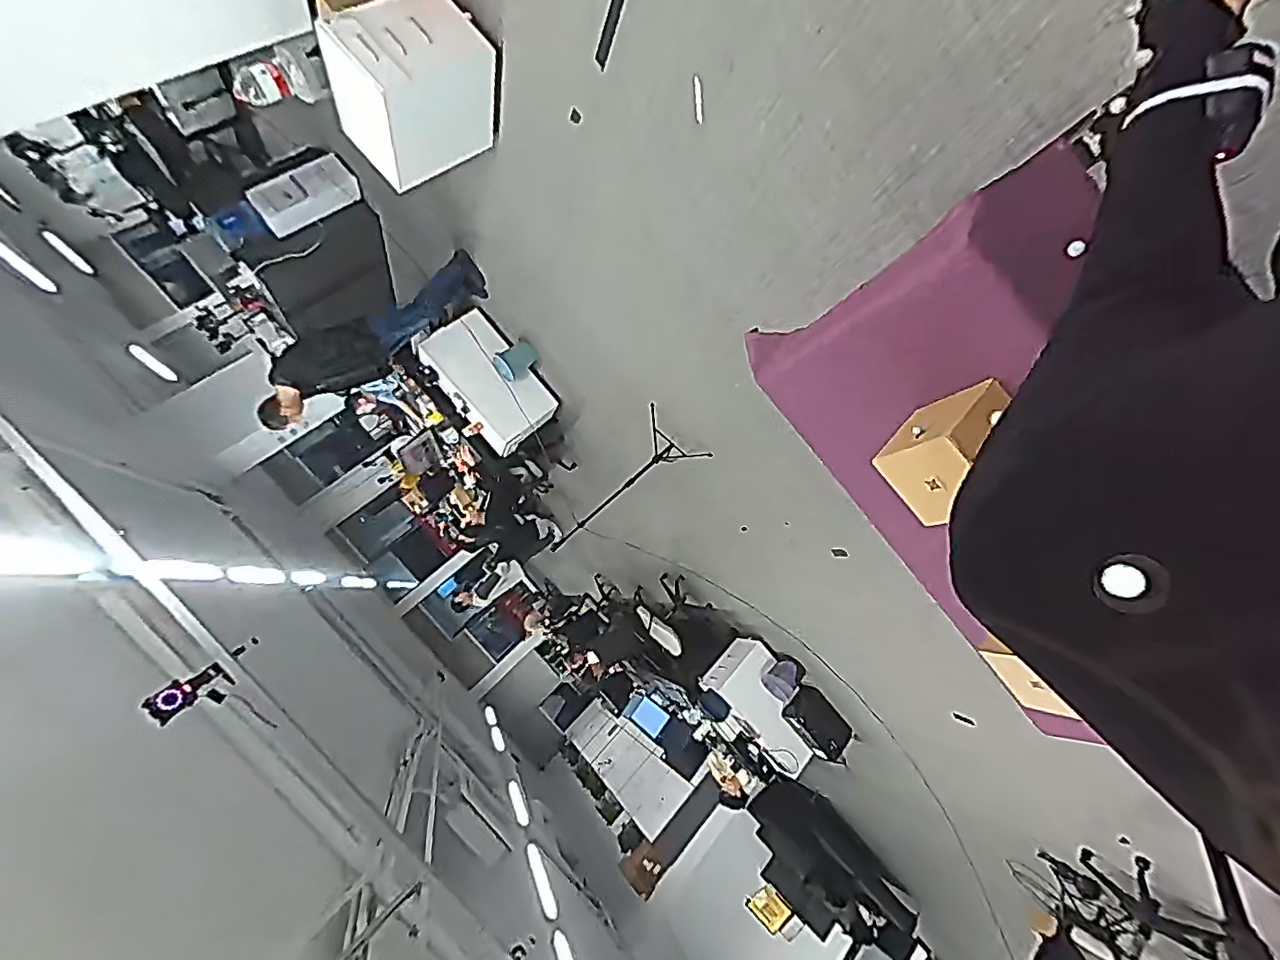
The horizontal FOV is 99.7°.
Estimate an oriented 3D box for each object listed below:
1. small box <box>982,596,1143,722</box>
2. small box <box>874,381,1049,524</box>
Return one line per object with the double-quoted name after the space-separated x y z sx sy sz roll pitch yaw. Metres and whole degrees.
0.859 0.352 1.102 0.168 0.176 0.179 49 158 -4 "small box"
0.571 -0.046 0.967 0.168 0.176 0.179 49 159 -2 "small box"
